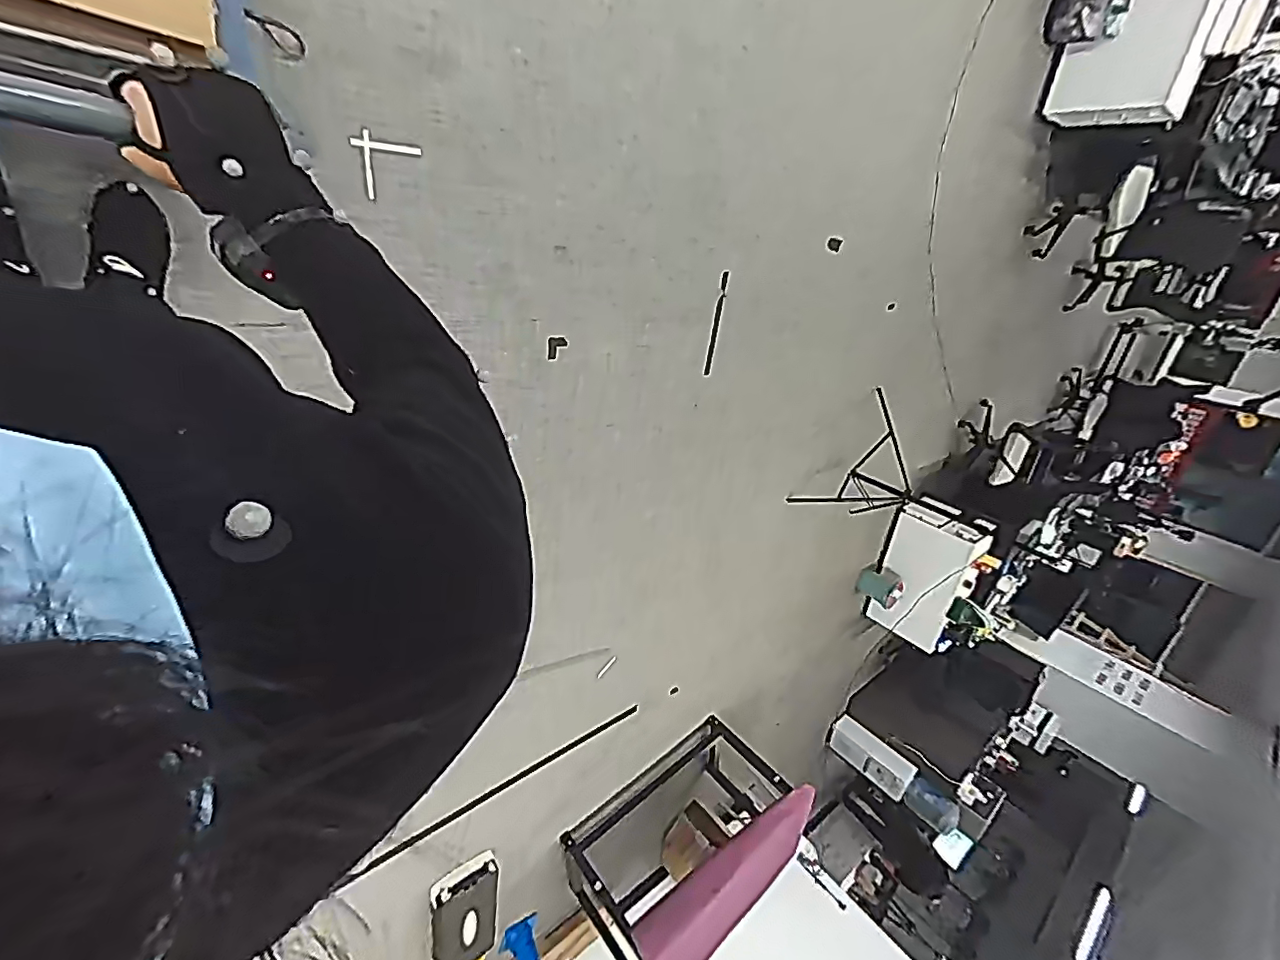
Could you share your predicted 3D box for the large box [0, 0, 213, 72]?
[{"bbox_3d":[-0.751,-0.697,0.581,0.408,0.320,0.320,-11,122,-41],"label":"large box"}]
